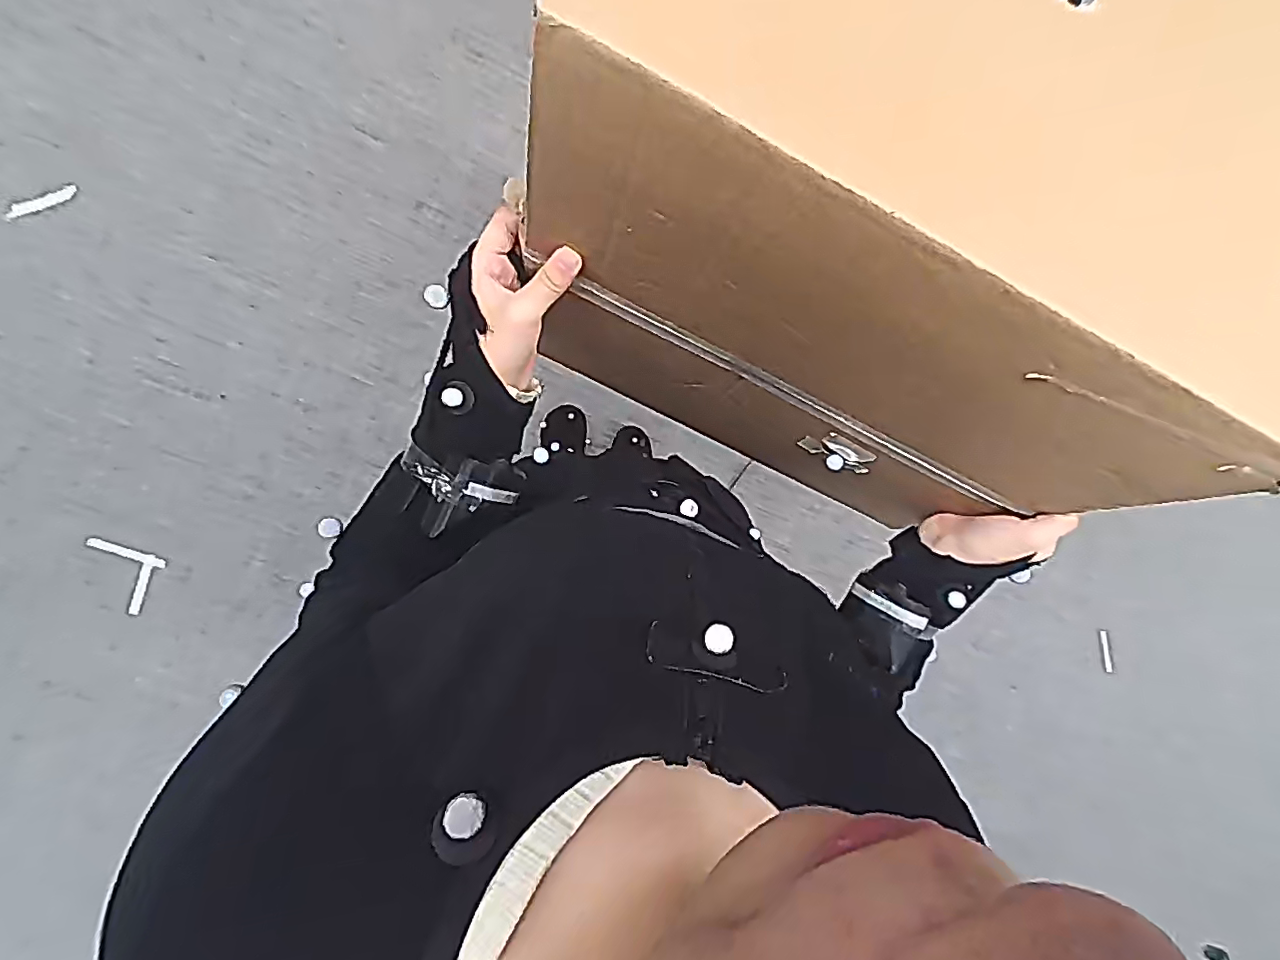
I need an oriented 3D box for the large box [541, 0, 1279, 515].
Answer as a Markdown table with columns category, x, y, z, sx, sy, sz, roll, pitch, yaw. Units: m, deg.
| category | x | y | z | sx | sy | sz | roll | pitch | yaw |
| --- | --- | --- | --- | --- | --- | --- | --- | --- | --- |
| large box | 0.177 | -0.207 | 0.380 | 0.408 | 0.320 | 0.320 | 24 | 77 | -8 |
